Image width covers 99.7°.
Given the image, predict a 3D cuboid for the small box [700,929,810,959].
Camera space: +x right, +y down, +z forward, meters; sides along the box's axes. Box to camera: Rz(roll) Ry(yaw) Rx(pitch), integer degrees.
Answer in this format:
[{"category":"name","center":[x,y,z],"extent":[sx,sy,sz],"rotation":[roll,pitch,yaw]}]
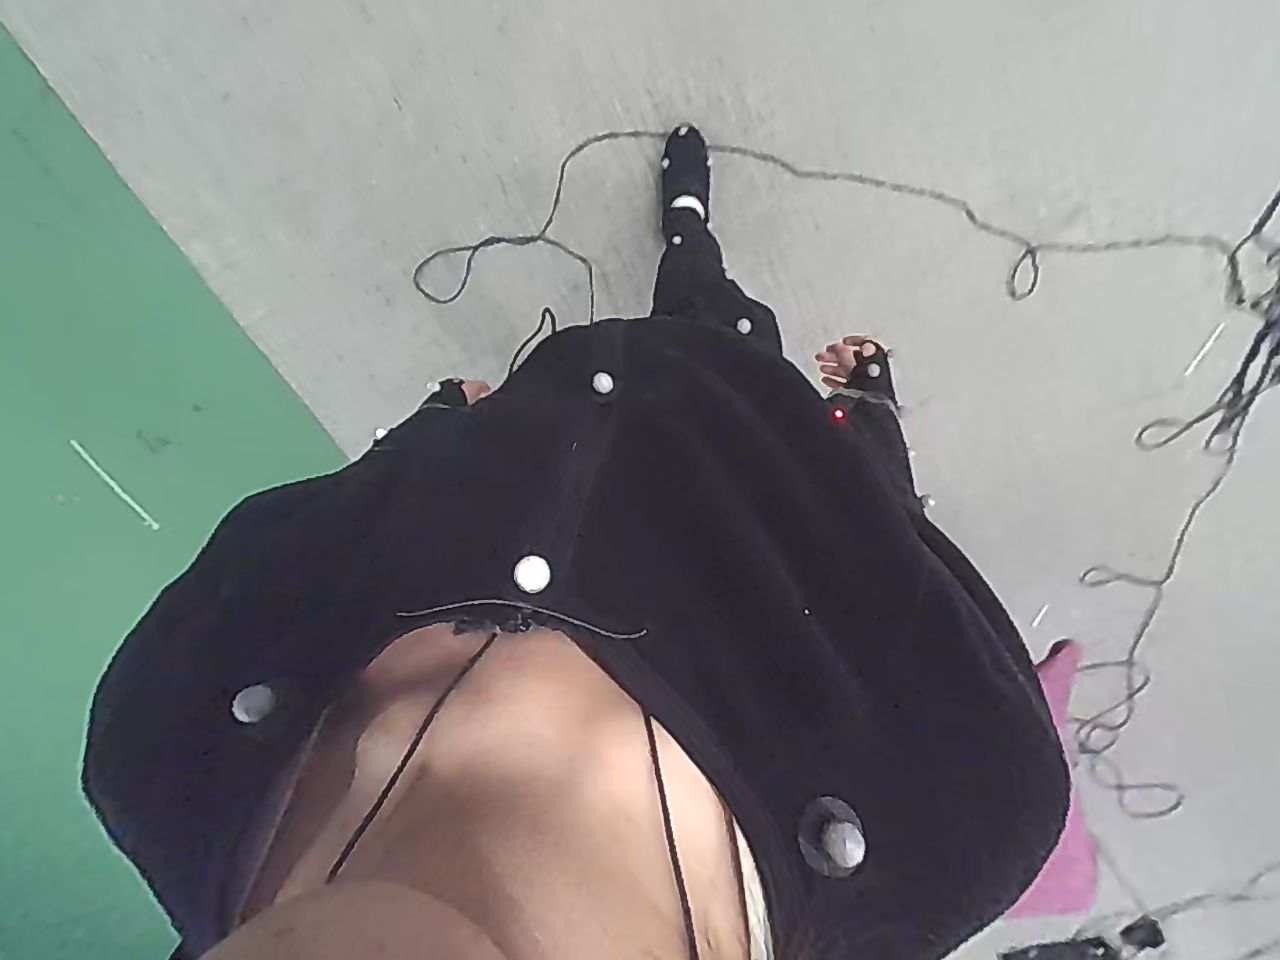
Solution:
[{"category":"small box","center":[0.216,0.893,0.898],"extent":[0.179,0.176,0.168],"rotation":[-26,112,11]}]
